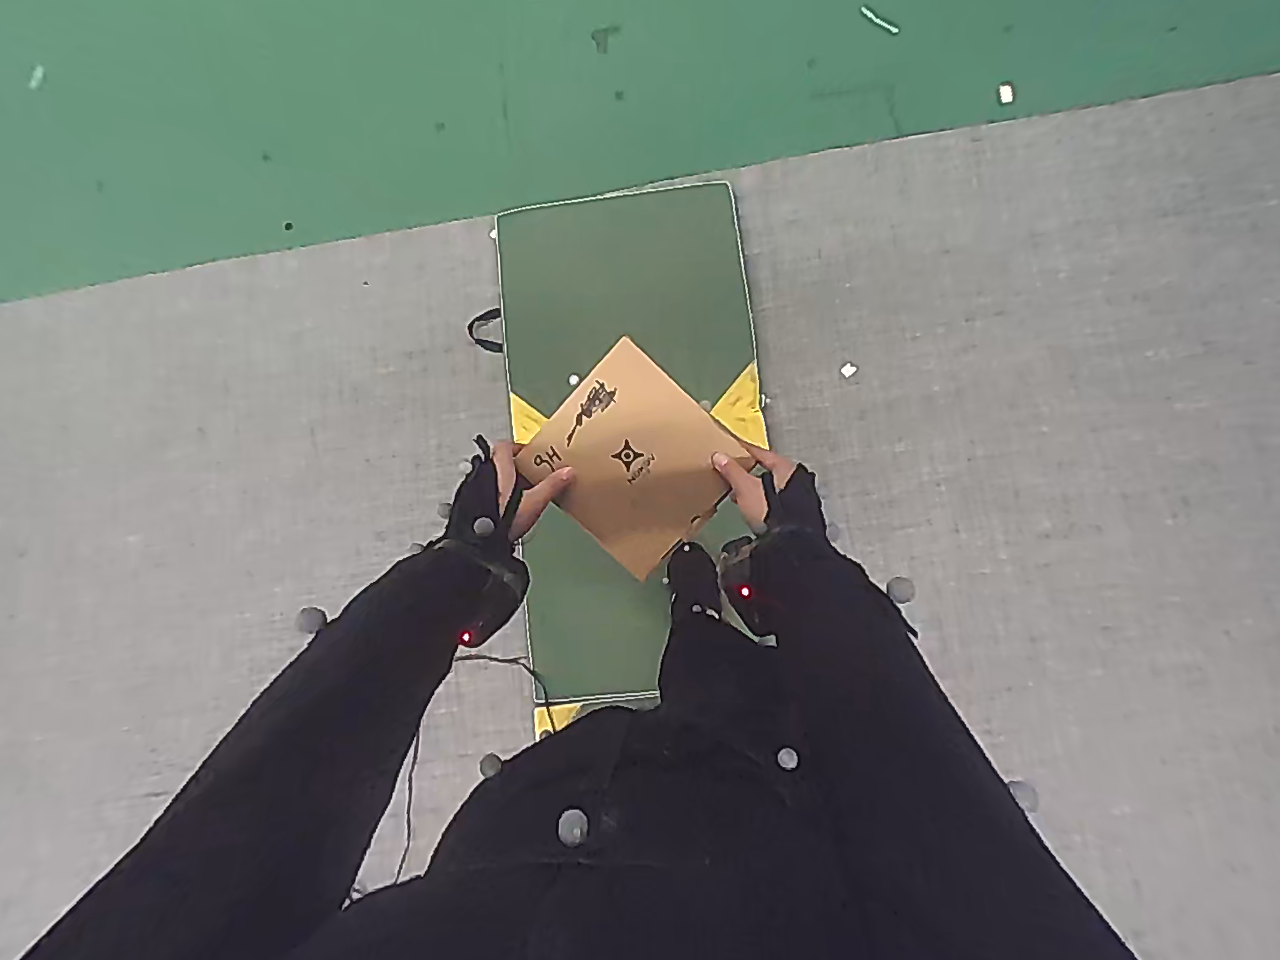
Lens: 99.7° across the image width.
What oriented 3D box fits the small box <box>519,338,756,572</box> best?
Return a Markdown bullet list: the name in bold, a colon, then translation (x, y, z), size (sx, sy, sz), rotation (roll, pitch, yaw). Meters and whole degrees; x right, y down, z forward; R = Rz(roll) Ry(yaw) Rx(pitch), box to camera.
- **small box**: translation (0.001, -0.033, 0.604), size (0.179, 0.176, 0.168), rotation (43, 97, -3)
